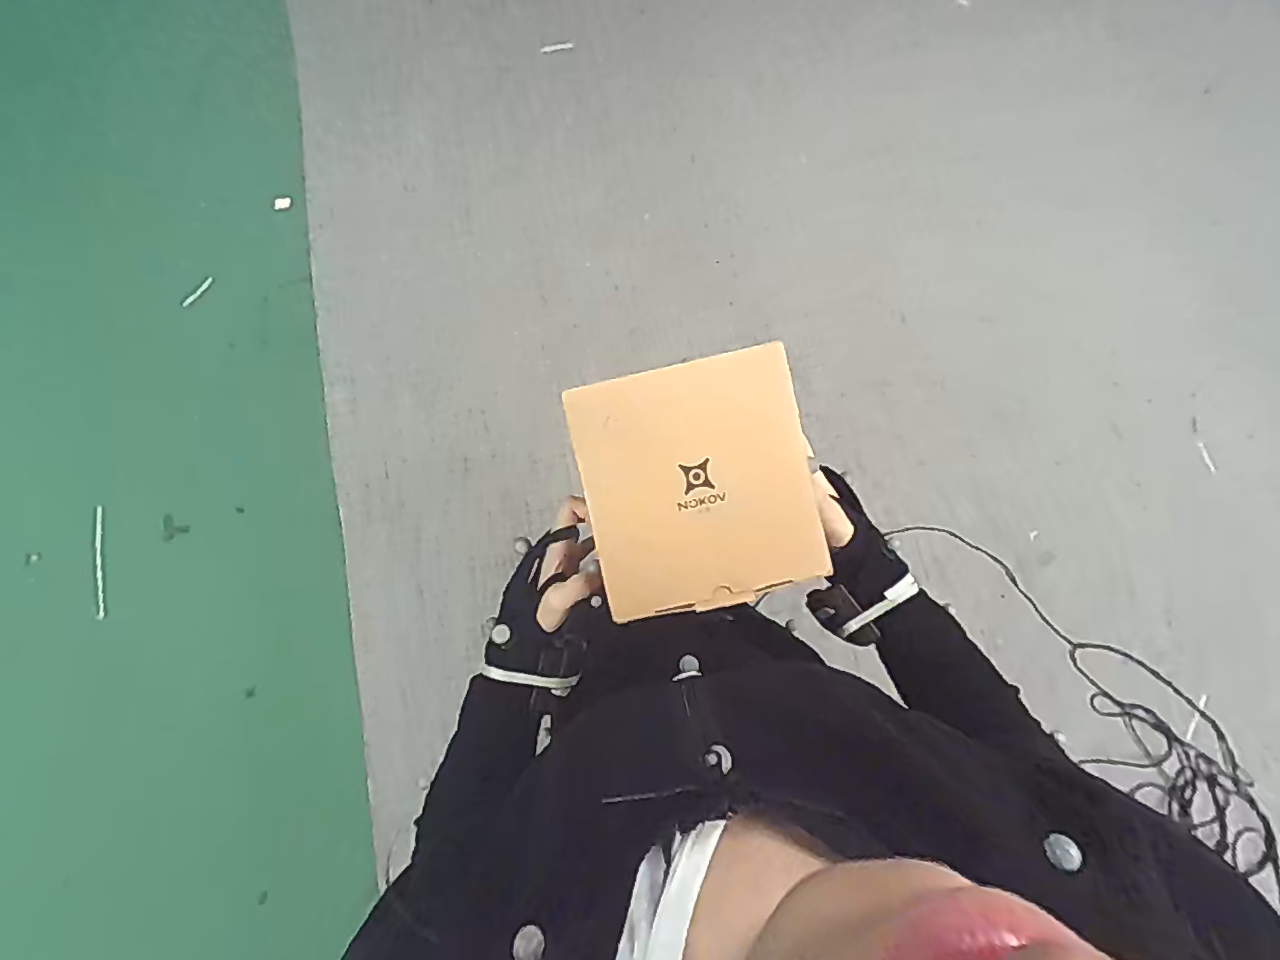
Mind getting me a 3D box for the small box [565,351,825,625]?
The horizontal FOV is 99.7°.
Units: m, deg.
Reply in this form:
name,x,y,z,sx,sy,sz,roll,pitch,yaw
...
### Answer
name,x,y,z,sx,sy,sz,roll,pitch,yaw
small box,0.038,0.003,0.477,0.168,0.176,0.179,-14,93,0
